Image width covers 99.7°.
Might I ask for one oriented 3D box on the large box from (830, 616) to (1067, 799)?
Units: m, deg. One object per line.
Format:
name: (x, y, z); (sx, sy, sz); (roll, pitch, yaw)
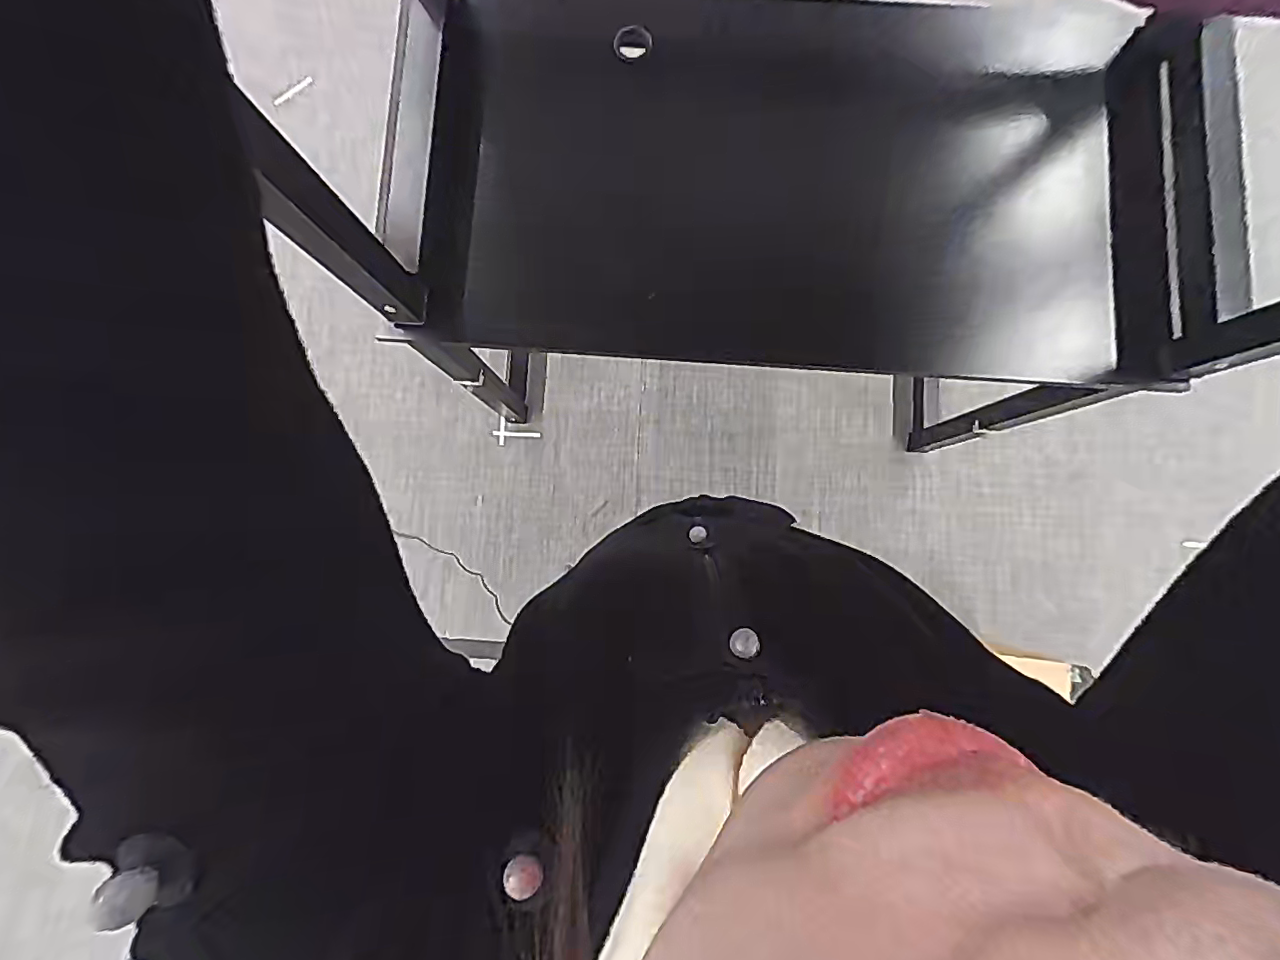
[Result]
large box: (0.717, 0.525, 1.317); (0.408, 0.320, 0.320); (7, 86, 0)
